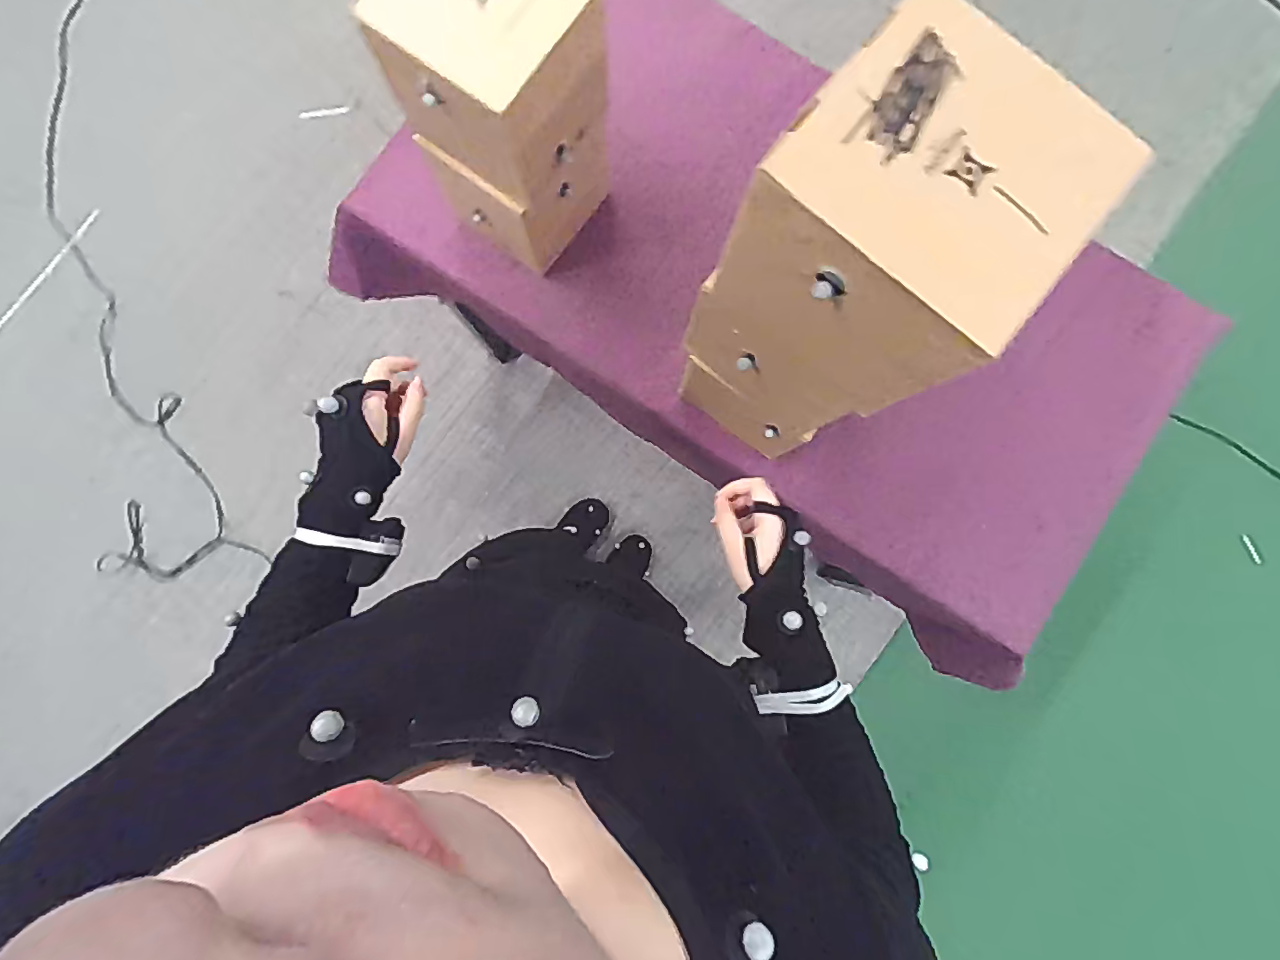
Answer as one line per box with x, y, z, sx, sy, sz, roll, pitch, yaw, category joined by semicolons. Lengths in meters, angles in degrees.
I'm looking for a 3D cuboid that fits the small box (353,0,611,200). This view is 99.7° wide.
-0.146;-0.439;0.566;0.179;0.176;0.168;36;87;1;small box

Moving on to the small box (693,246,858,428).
0.172;-0.173;0.557;0.179;0.176;0.168;40;86;2;small box

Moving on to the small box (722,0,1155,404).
0.183;-0.177;0.392;0.179;0.176;0.168;40;86;0;small box

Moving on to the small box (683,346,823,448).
0.174;-0.157;0.720;0.179;0.176;0.168;36;86;1;small box

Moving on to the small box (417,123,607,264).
-0.154;-0.431;0.729;0.168;0.176;0.179;37;86;1;small box
